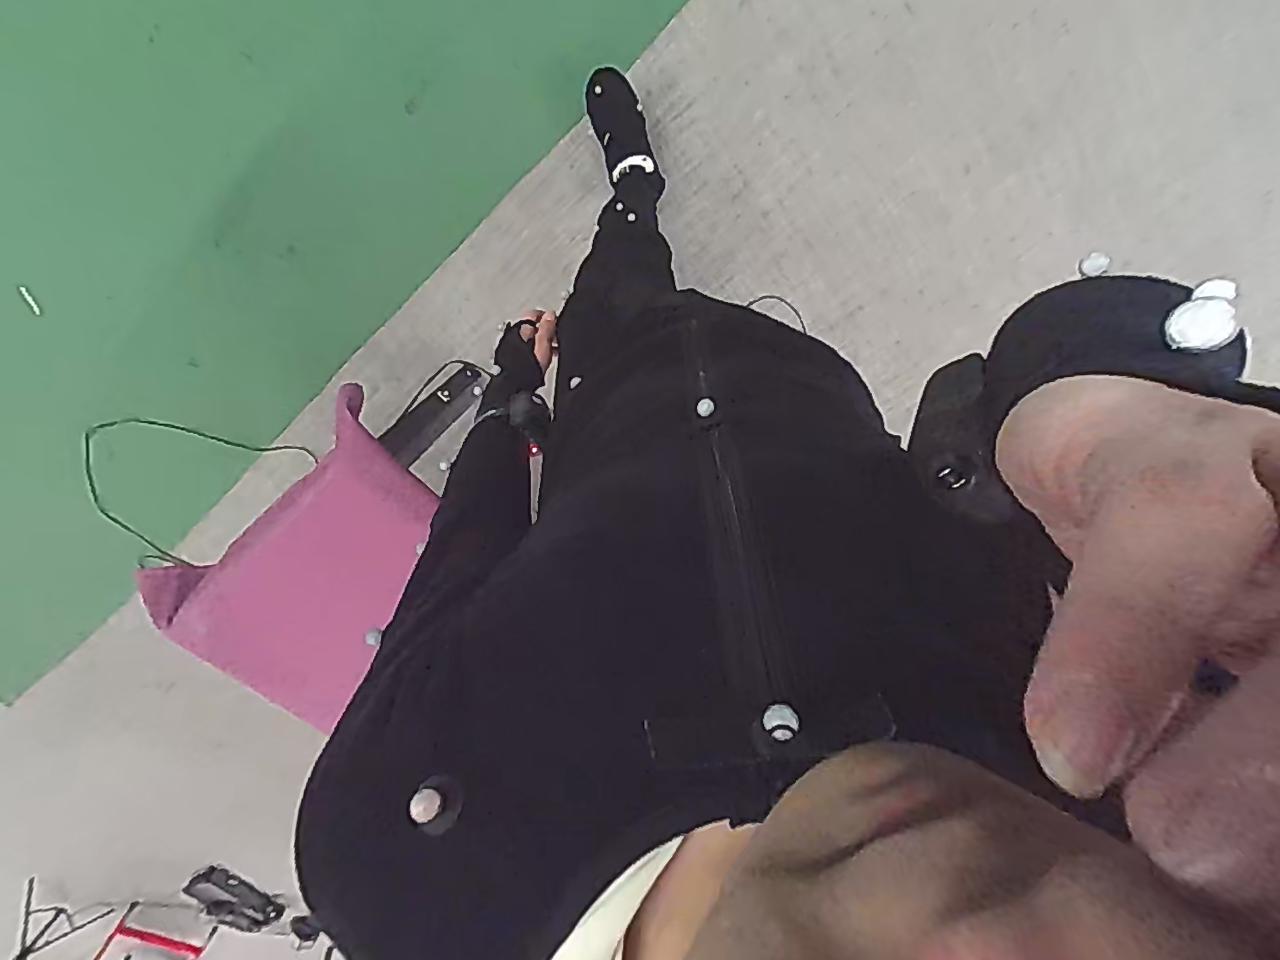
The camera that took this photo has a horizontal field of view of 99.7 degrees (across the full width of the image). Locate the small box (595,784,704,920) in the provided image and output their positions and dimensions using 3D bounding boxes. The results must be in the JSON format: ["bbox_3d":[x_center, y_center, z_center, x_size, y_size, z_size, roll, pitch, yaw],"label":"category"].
[{"bbox_3d":[0.023,0.828,1.211,0.179,0.176,0.168,-40,109,17],"label":"small box"}]
